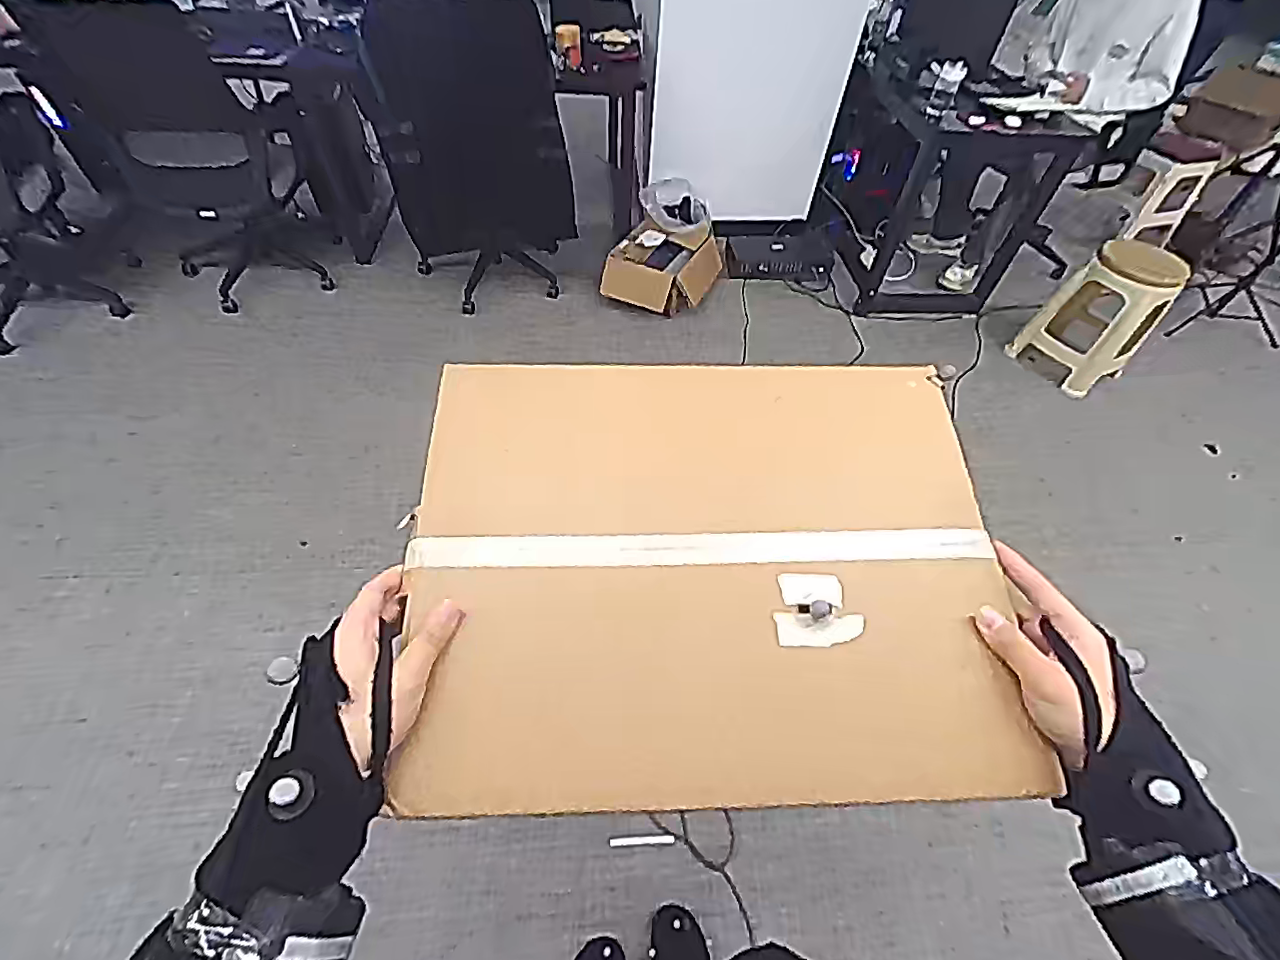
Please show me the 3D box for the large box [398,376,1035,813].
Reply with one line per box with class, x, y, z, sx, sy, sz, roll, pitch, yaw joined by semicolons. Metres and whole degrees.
large box;0.039;0.115;0.525;0.408;0.320;0.320;0;66;-3
